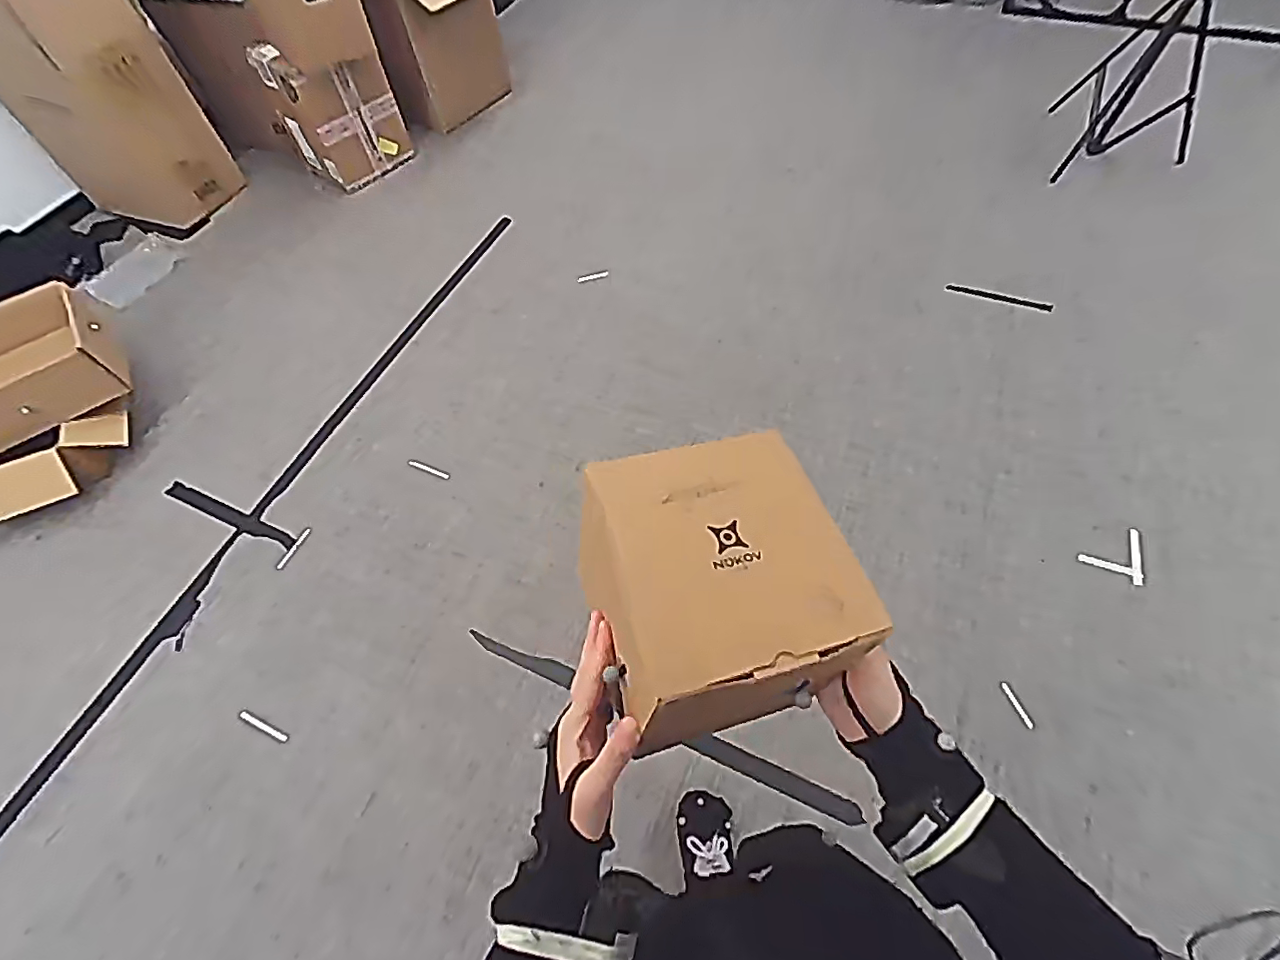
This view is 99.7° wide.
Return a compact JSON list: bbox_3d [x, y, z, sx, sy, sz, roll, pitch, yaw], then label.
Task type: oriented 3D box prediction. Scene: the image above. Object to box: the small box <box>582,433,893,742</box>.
[{"bbox_3d":[0.053,0.091,0.433,0.168,0.176,0.179,-11,55,-16],"label":"small box"}]
